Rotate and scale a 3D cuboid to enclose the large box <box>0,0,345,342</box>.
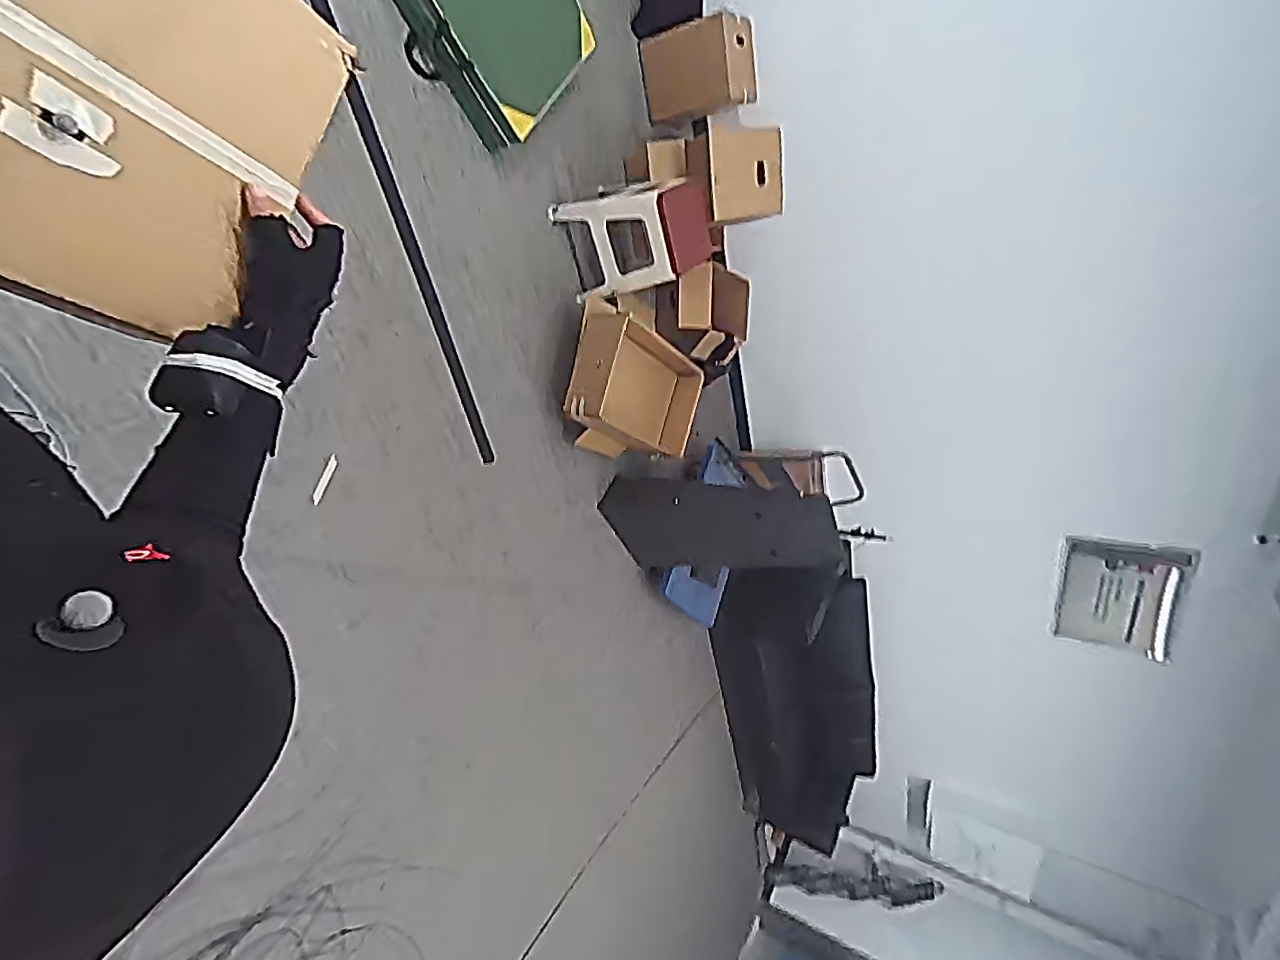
[{"bbox_3d":[-0.548,-0.345,0.426,0.408,0.320,0.320,25,84,-54],"label":"large box"}]
